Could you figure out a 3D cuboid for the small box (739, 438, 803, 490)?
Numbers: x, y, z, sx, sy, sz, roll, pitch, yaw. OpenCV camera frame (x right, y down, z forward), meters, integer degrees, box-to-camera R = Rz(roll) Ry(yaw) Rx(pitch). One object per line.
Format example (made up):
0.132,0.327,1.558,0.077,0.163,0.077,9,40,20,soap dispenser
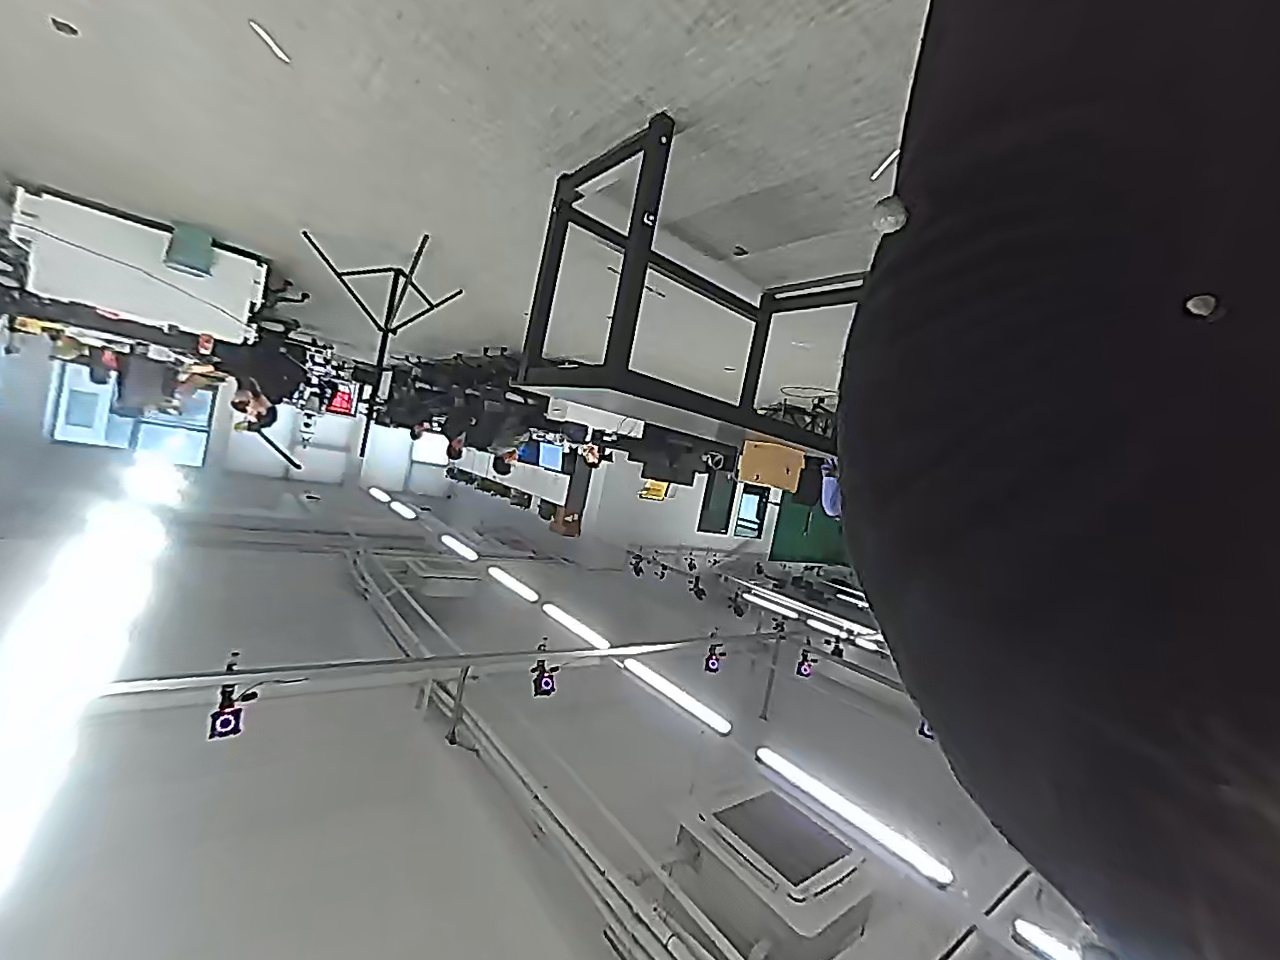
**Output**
0.527,-0.064,2.162,0.179,0.176,0.168,10,-178,-37,small box
